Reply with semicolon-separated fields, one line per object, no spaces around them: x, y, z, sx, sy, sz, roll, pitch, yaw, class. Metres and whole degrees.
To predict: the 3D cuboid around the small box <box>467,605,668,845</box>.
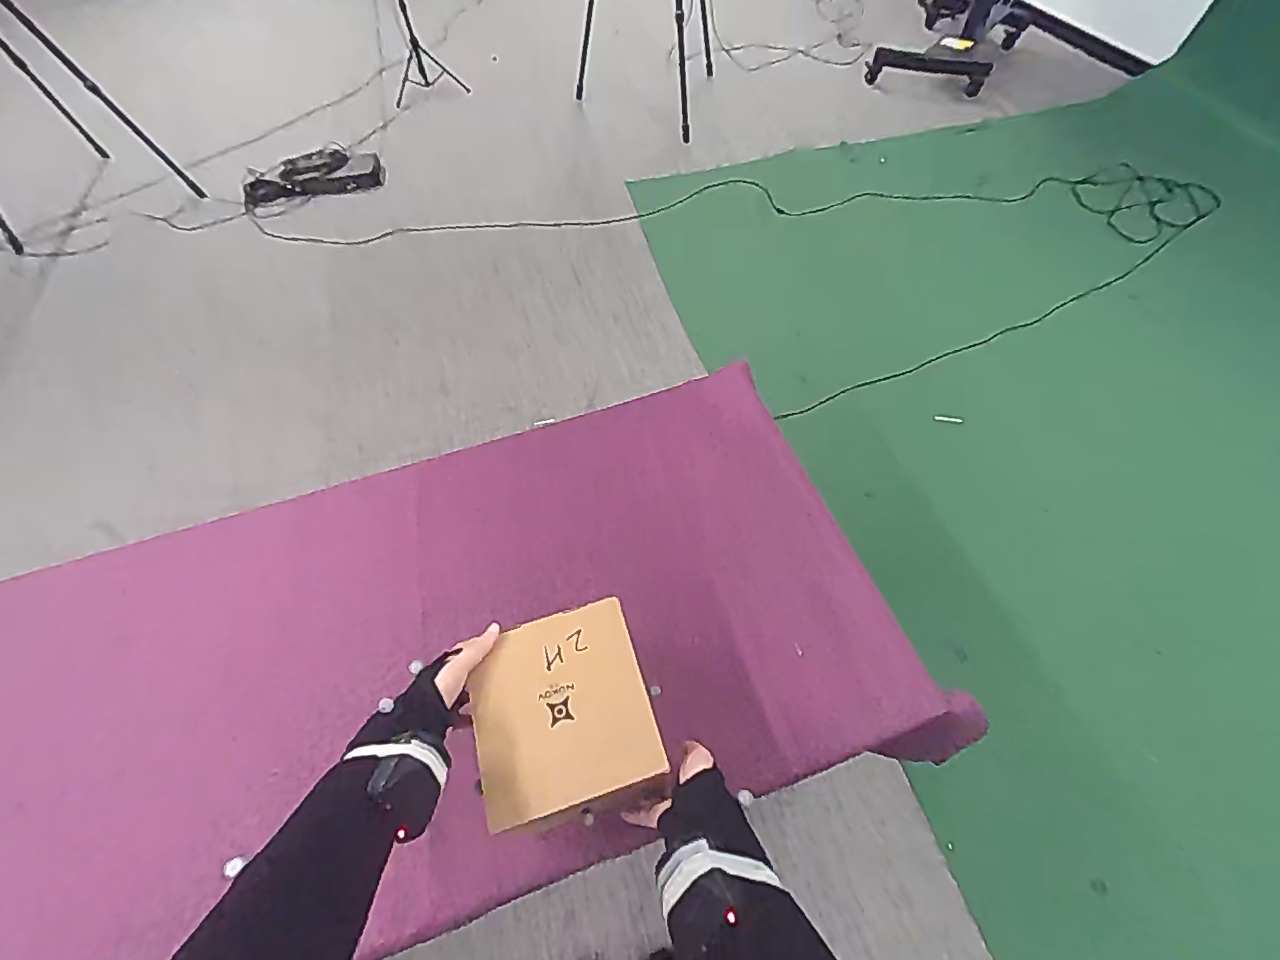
-0.071;0.264;0.582;0.168;0.176;0.179;-16;57;-8;small box
